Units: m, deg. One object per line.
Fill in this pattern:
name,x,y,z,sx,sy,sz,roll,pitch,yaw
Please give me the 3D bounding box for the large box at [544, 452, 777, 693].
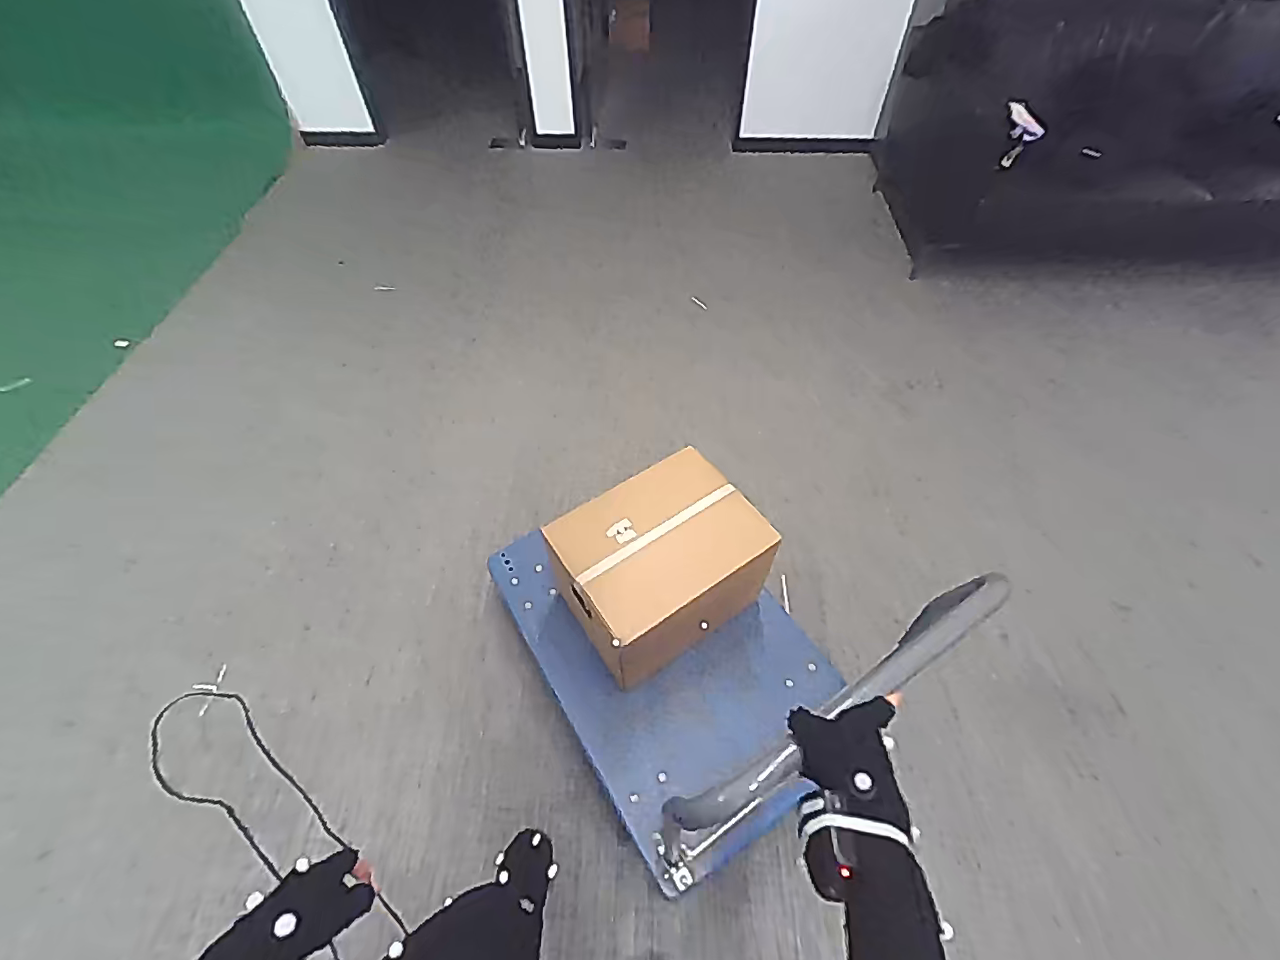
large box,0.045,0.211,1.250,0.408,0.320,0.320,-30,58,-19
